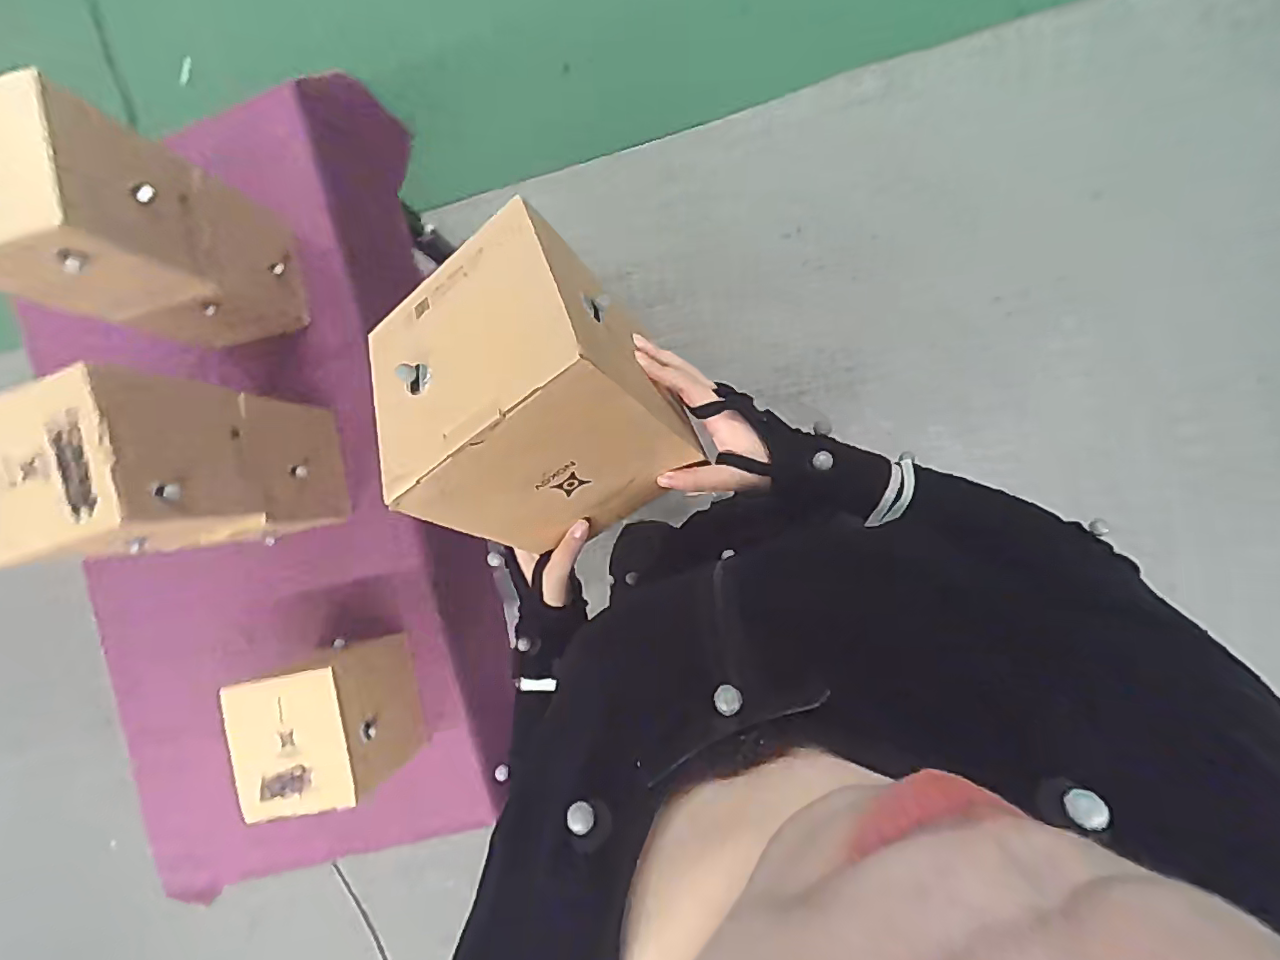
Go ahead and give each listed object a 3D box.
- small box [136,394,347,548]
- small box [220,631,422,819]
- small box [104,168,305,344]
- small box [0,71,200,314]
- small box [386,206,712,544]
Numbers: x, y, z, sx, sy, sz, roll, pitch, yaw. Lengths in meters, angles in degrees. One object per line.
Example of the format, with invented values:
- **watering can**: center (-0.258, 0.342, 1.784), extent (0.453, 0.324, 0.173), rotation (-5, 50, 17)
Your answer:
- **small box**: center (-0.557, -0.012, 0.779), extent (0.168, 0.176, 0.179), rotation (-12, 89, 8)
- **small box**: center (-0.432, 0.331, 0.759), extent (0.168, 0.176, 0.179), rotation (-13, 87, 8)
- **small box**: center (-0.638, -0.312, 0.794), extent (0.179, 0.176, 0.168), rotation (-11, 88, 7)
- **small box**: center (-0.660, -0.315, 0.630), extent (0.179, 0.176, 0.168), rotation (-13, 87, 7)
- **small box**: center (-0.074, -0.078, 0.423), extent (0.168, 0.179, 0.176), rotation (-31, 58, 18)
